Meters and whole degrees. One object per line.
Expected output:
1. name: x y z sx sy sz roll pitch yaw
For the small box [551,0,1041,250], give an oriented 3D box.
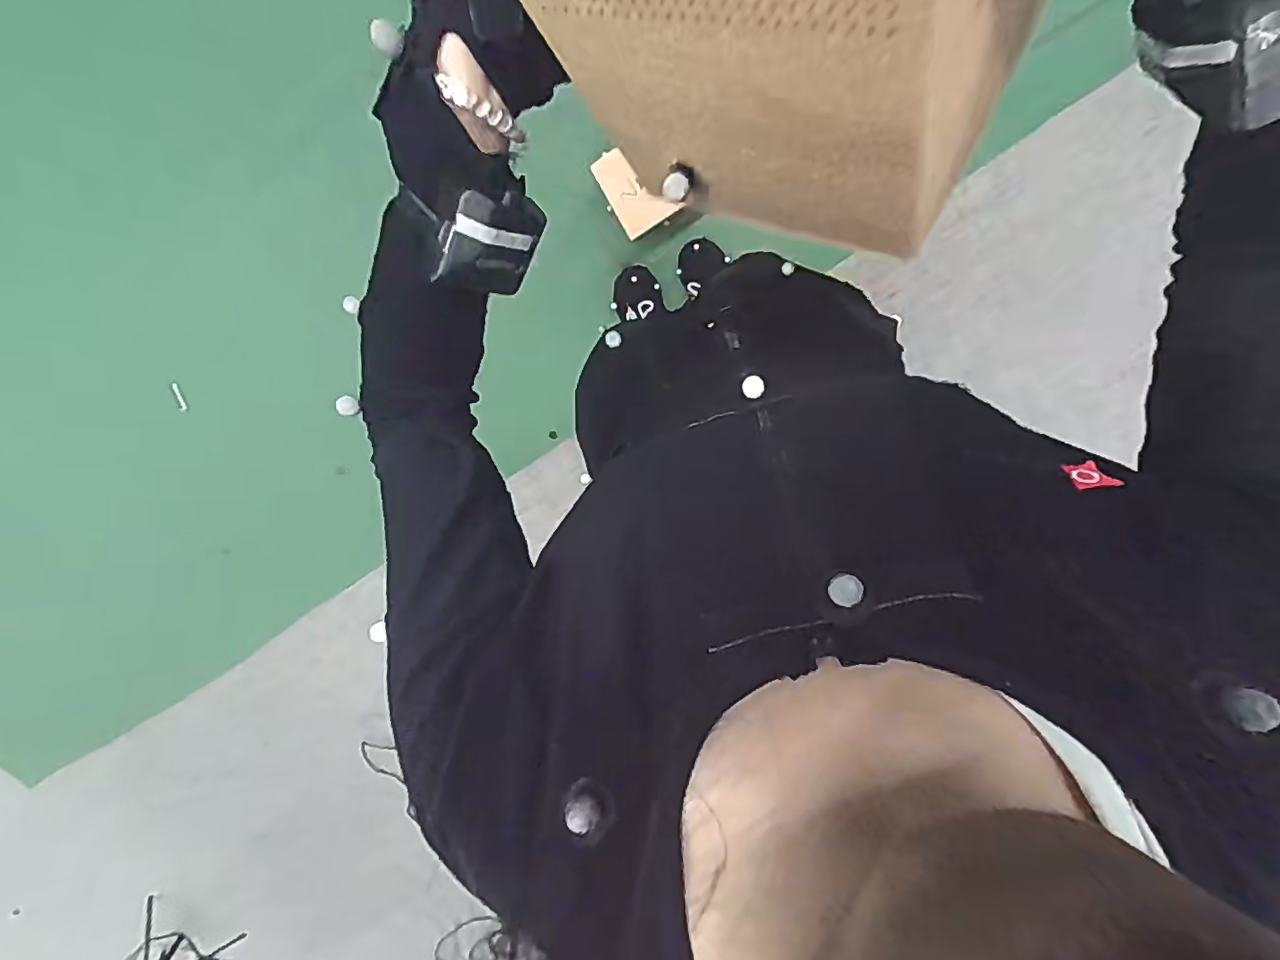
1. small box: 0.078 -0.237 0.241 0.179 0.176 0.168 29 100 24
